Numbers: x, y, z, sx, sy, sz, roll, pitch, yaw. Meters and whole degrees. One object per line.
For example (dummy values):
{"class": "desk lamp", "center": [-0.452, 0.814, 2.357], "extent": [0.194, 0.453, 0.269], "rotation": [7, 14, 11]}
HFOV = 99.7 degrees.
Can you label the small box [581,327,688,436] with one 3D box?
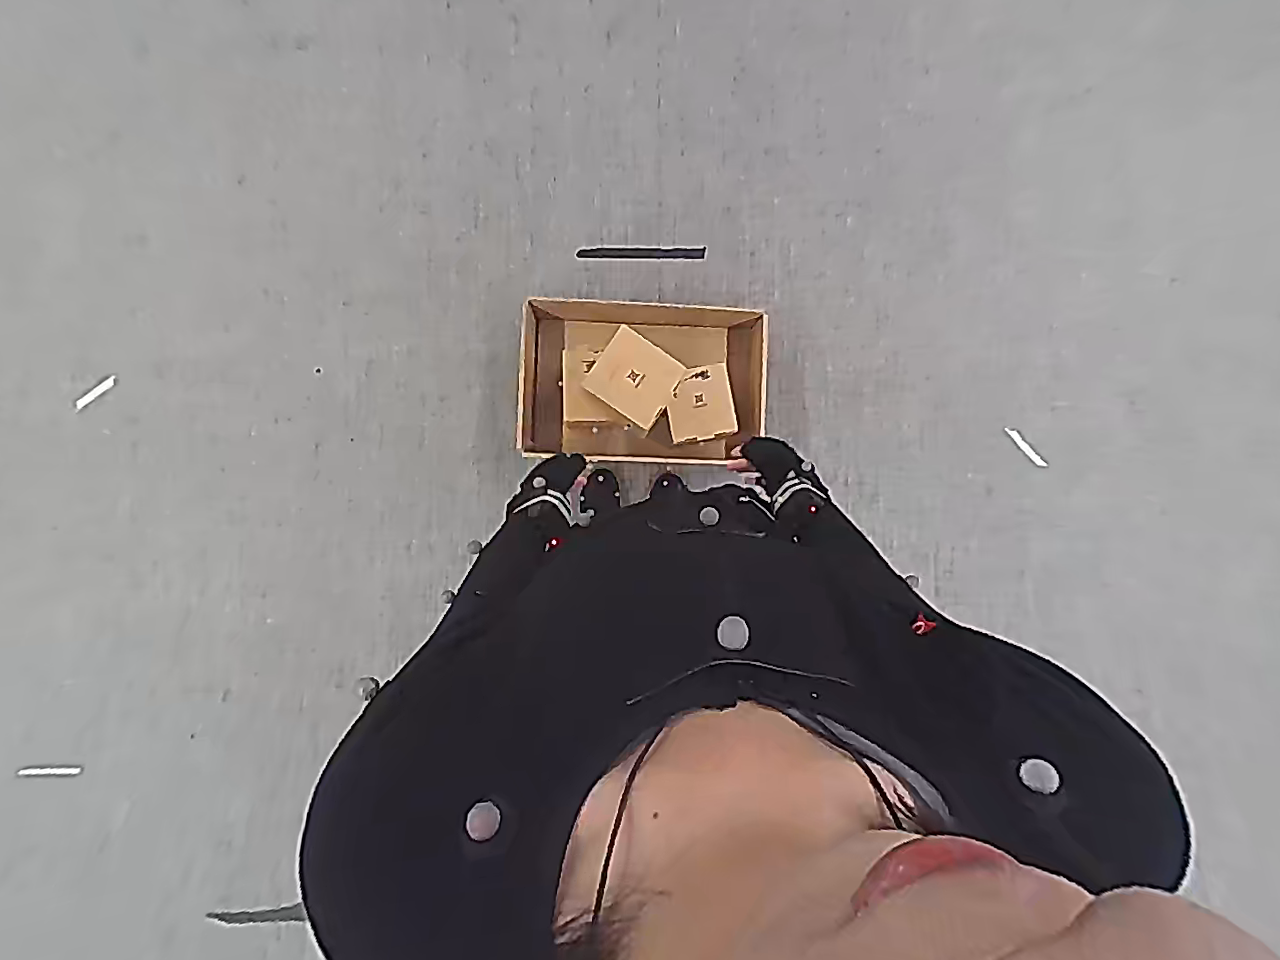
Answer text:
{"class": "small box", "center": [-0.015, -0.213, 1.232], "extent": [0.179, 0.176, 0.168], "rotation": [33, 85, -1]}
